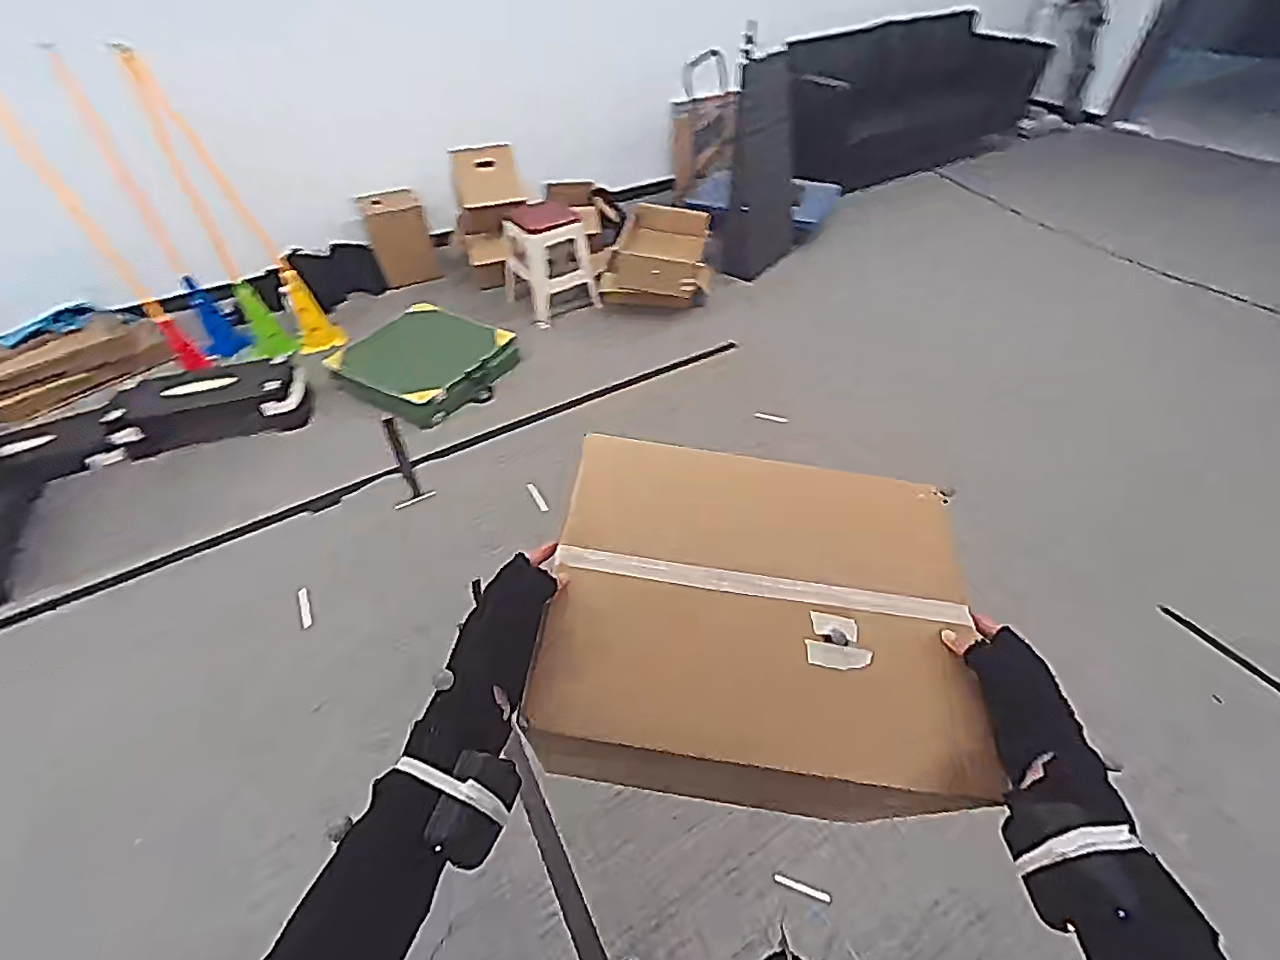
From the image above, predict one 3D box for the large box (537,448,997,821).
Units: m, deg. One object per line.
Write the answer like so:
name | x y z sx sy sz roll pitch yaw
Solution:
large box | 0.113 0.199 0.661 0.408 0.320 0.320 10 56 1
